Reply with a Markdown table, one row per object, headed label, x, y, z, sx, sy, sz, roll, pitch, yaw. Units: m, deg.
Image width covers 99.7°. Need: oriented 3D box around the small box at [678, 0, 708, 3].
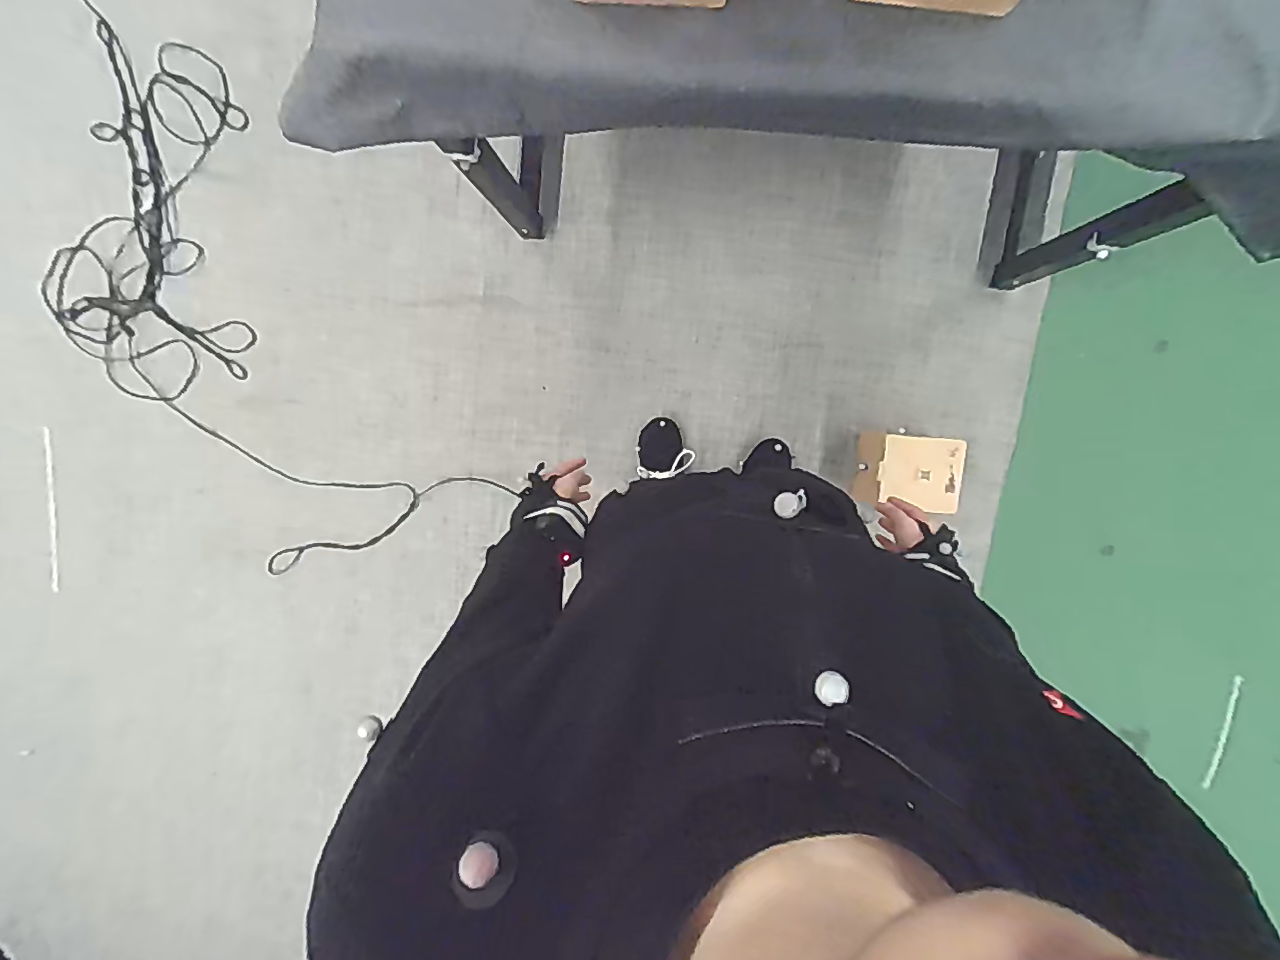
| label | x | y | z | sx | sy | sz | roll | pitch | yaw |
| --- | --- | --- | --- | --- | --- | --- | --- | --- | --- |
| small box | 0.007 | -0.583 | 0.478 | 0.168 | 0.176 | 0.179 | 5 | 98 | 3 |
